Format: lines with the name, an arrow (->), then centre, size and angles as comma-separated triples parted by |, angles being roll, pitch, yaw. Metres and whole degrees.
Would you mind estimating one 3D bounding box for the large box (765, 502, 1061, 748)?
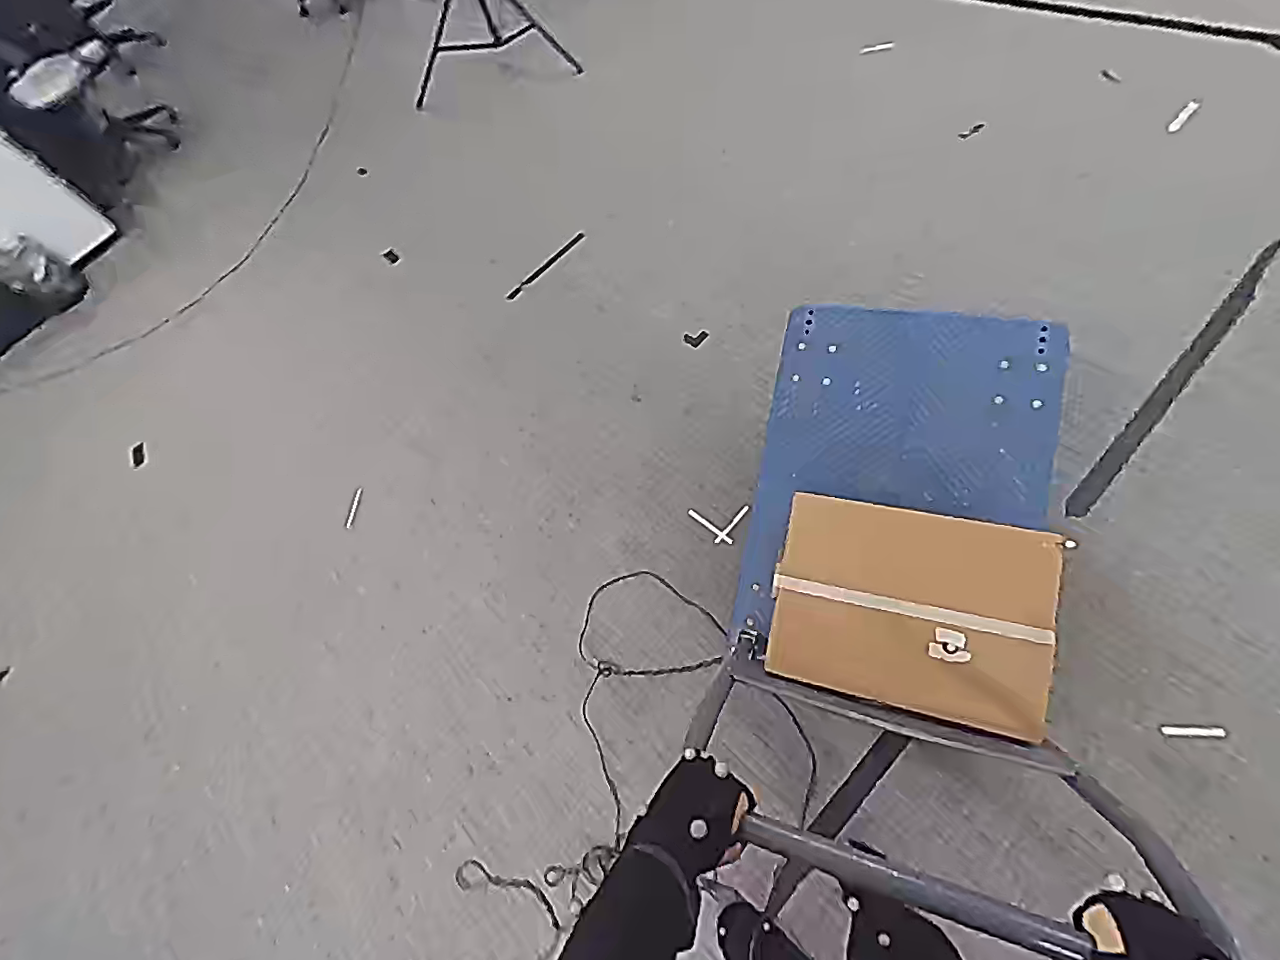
large box -> 0.460, 0.239, 0.997 | 0.408, 0.320, 0.320 | 10, 84, 17
